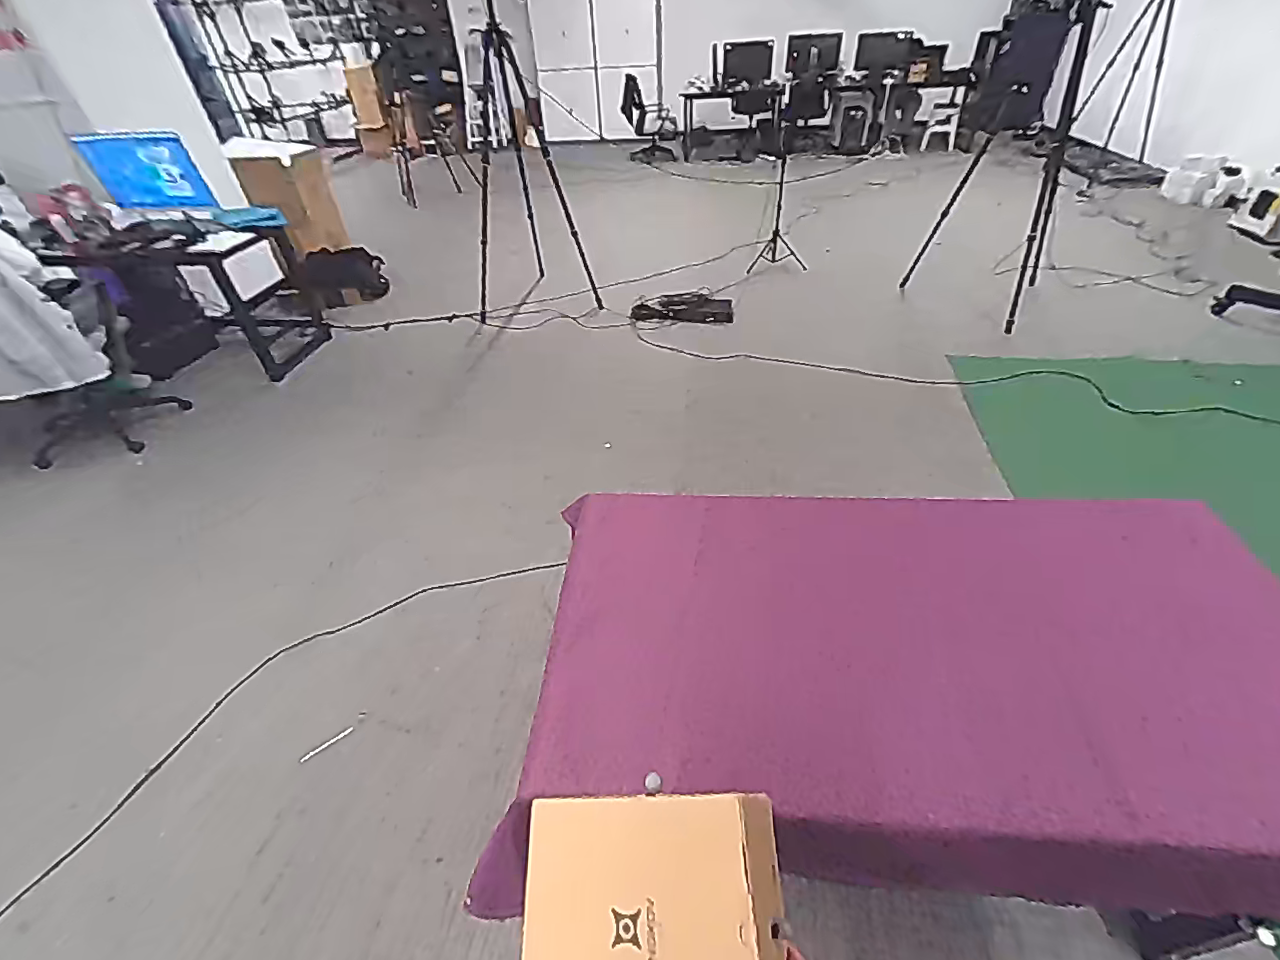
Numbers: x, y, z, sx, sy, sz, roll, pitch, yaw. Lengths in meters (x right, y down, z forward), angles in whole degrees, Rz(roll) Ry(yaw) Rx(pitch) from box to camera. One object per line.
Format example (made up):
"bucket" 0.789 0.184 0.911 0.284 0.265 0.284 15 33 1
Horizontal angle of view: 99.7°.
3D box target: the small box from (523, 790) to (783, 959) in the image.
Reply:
"small box" 0.019 0.361 0.457 0.179 0.176 0.168 -10 58 14
